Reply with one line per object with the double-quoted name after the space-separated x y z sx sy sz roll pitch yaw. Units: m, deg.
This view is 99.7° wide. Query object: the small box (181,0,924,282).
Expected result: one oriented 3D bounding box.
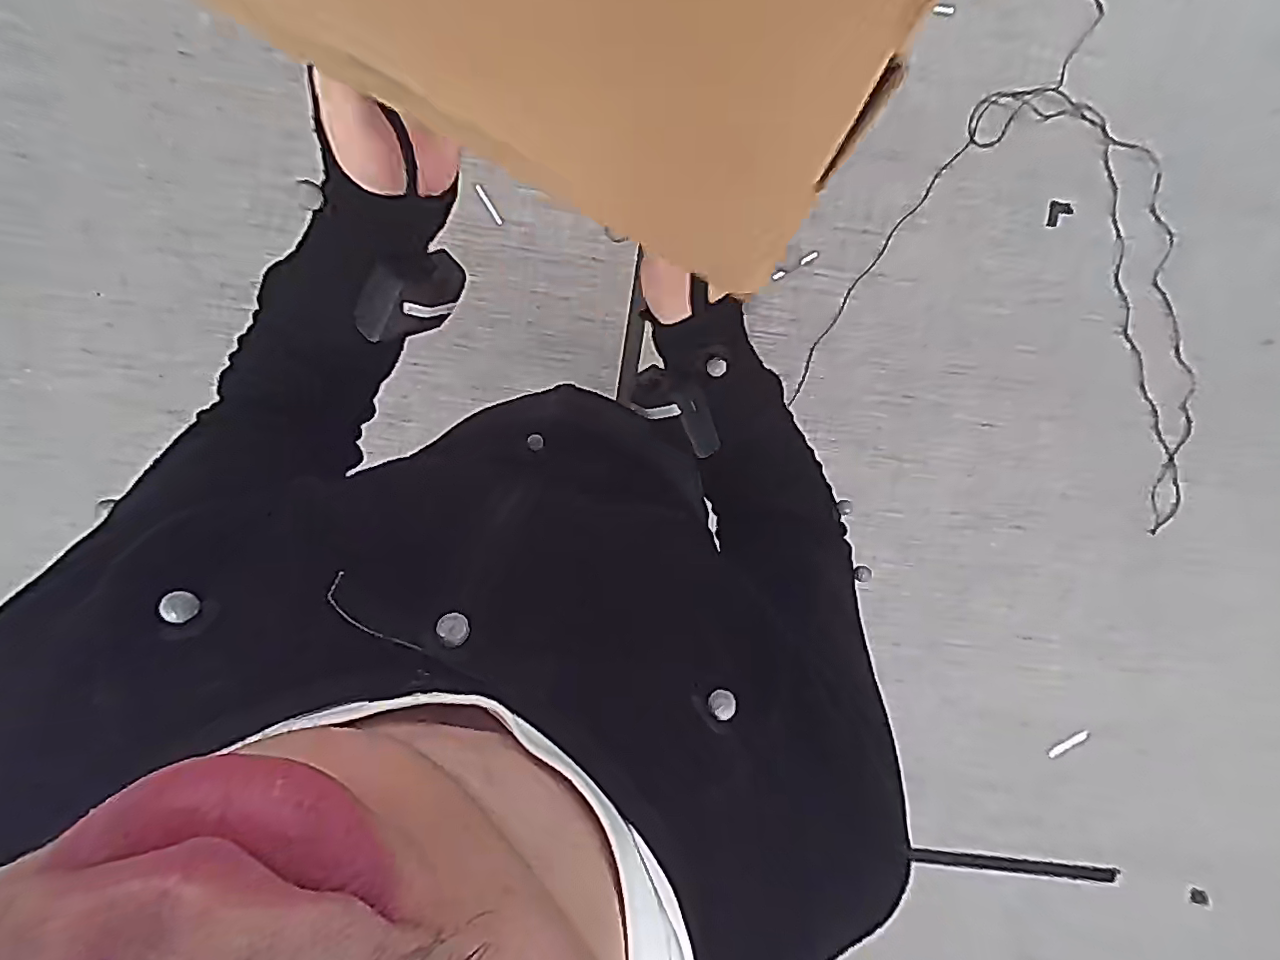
-0.005 -0.192 0.170 0.179 0.176 0.168 22 121 -10 "small box"
